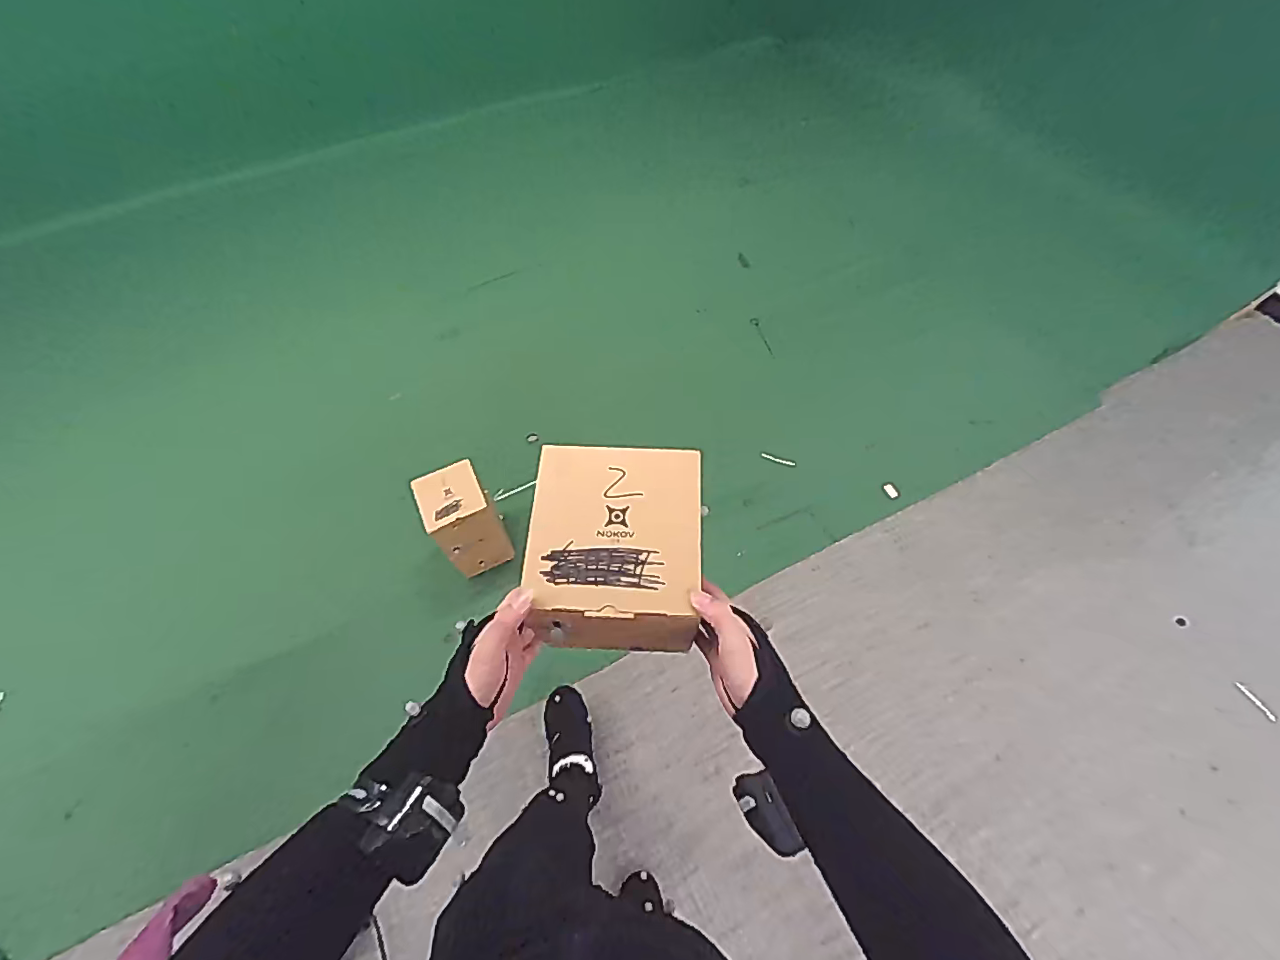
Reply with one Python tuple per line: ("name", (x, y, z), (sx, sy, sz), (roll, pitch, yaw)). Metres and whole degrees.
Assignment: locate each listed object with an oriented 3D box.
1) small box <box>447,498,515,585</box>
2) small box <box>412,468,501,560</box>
("small box", (-0.498, 0.189, 1.641), (0.168, 0.176, 0.179), (-24, 61, -13))
("small box", (-0.503, 0.104, 1.502), (0.168, 0.176, 0.179), (-24, 60, -13))
